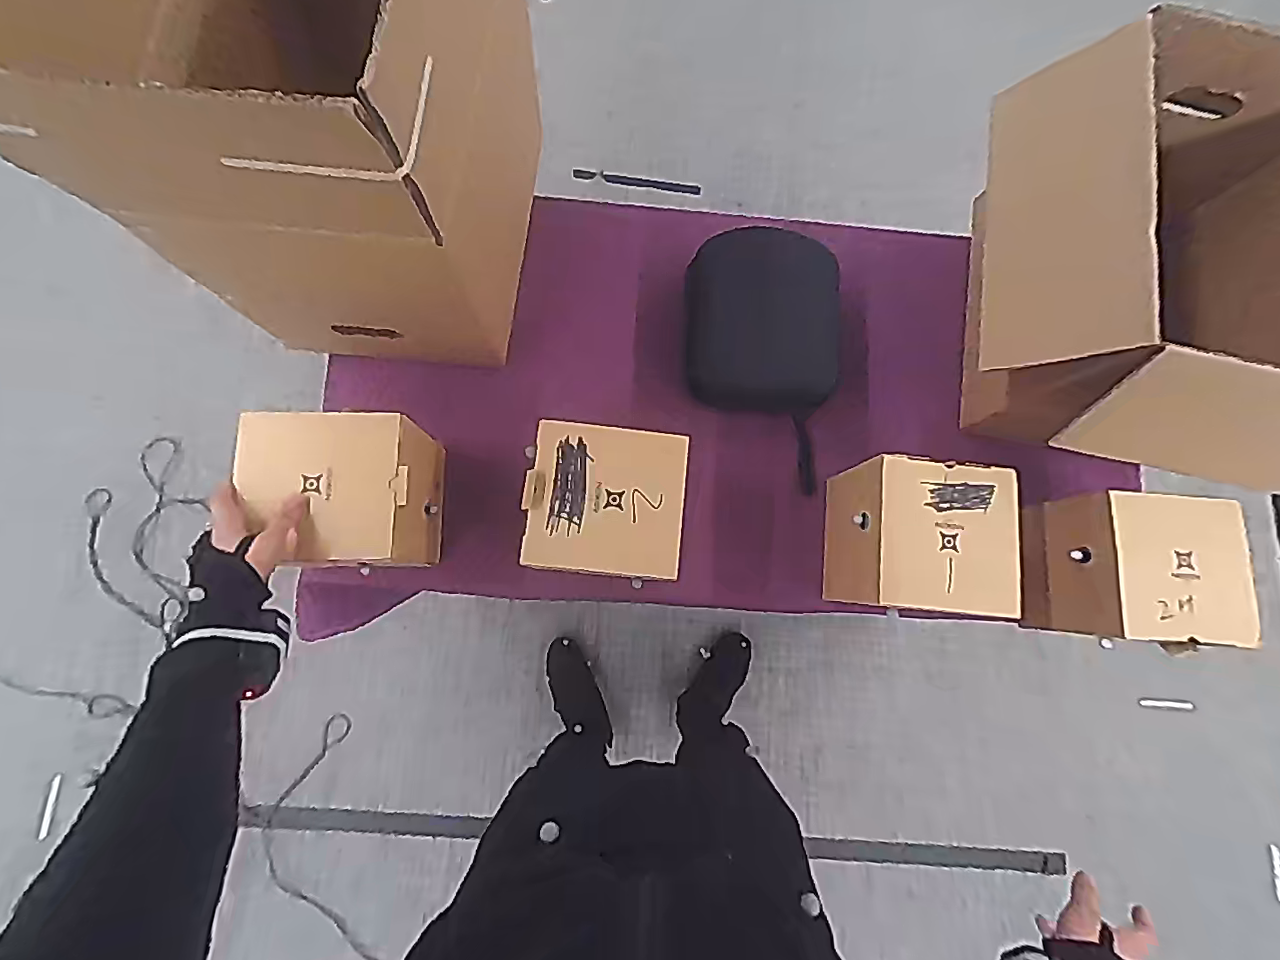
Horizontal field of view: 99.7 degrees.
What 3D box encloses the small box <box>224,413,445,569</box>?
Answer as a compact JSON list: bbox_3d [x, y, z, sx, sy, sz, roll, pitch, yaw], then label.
[{"bbox_3d":[-0.357,0.023,0.665,0.179,0.176,0.168,0,79,-5],"label":"small box"}]
